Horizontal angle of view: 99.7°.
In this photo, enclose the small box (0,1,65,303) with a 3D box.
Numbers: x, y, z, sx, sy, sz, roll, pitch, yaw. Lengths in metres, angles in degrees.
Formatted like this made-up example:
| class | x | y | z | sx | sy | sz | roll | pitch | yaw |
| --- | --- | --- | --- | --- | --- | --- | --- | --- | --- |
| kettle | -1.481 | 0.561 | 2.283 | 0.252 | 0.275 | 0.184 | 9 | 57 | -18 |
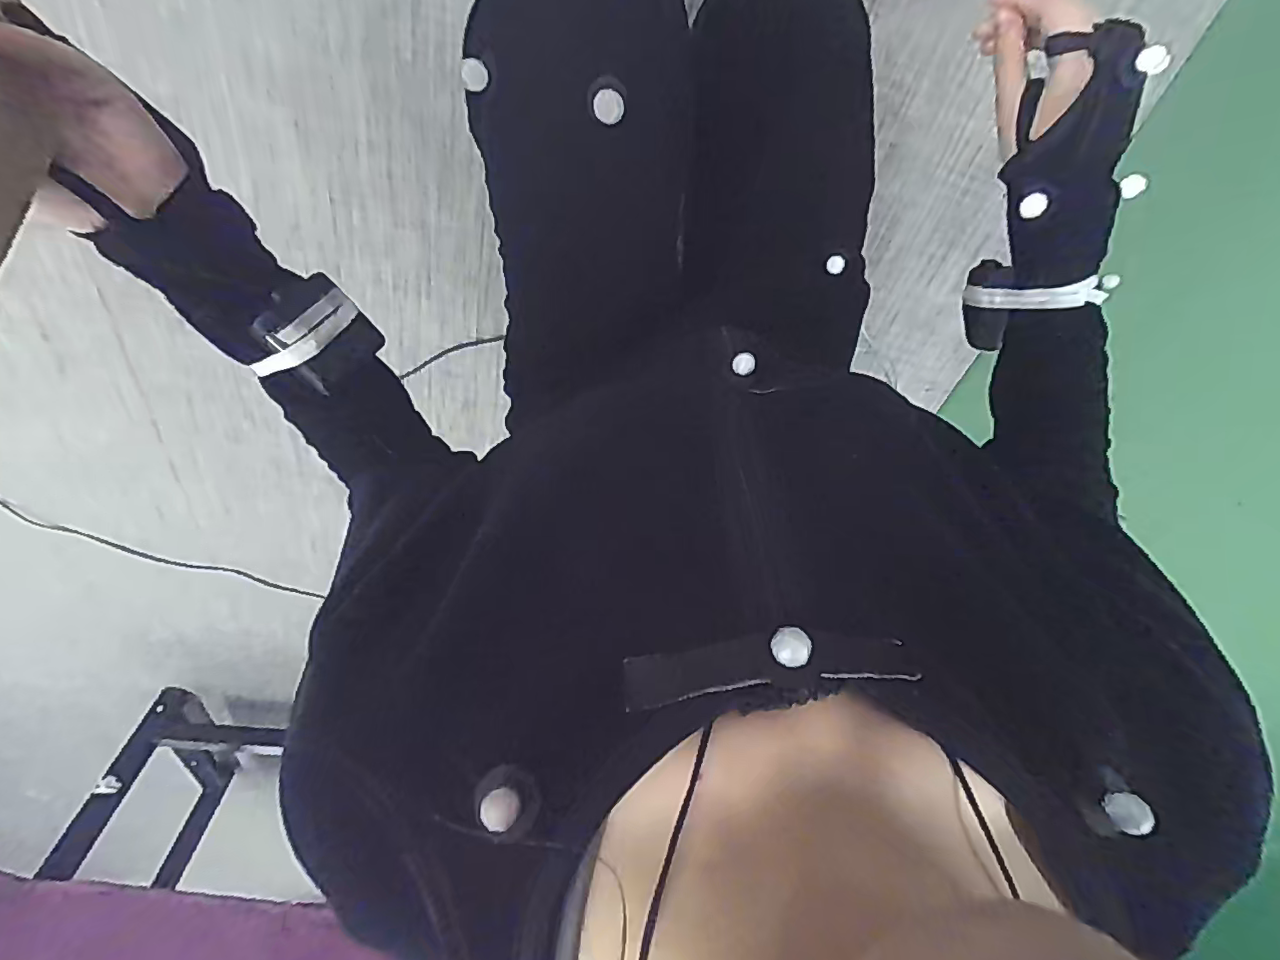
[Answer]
| class | x | y | z | sx | sy | sz | roll | pitch | yaw |
| --- | --- | --- | --- | --- | --- | --- | --- | --- | --- |
| small box | -0.319 | -0.141 | 0.140 | 0.168 | 0.176 | 0.179 | 3 | 153 | -22 |
